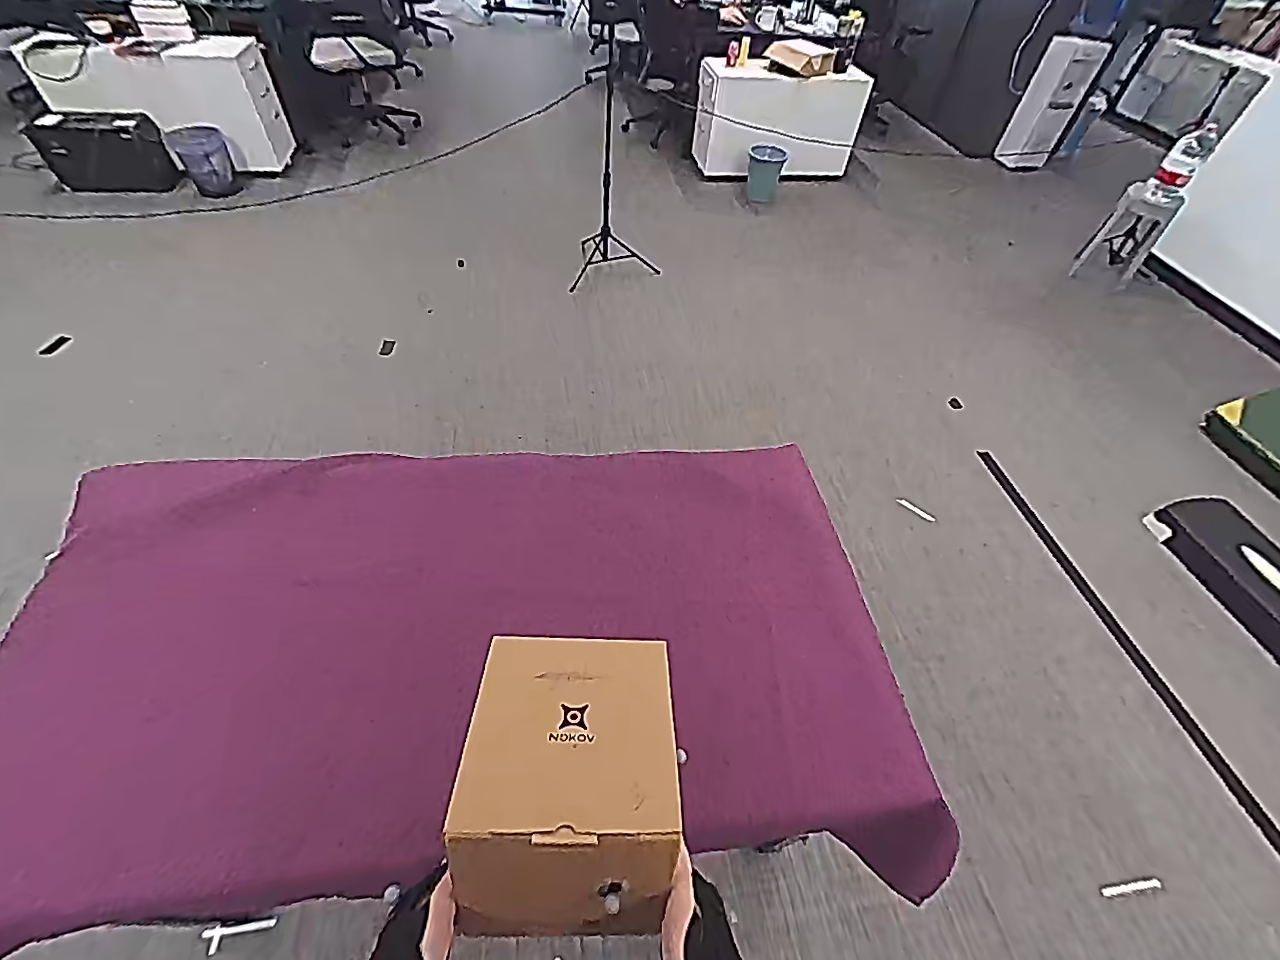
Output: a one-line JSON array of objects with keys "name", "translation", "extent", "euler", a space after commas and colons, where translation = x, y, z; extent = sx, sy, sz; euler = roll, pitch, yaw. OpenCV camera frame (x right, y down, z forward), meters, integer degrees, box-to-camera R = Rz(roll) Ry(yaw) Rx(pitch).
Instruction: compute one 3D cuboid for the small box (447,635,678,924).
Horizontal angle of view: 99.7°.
[{"name": "small box", "translation": [-0.059, 0.265, 0.486], "extent": [0.168, 0.176, 0.179], "euler": [3, 31, -3]}]
